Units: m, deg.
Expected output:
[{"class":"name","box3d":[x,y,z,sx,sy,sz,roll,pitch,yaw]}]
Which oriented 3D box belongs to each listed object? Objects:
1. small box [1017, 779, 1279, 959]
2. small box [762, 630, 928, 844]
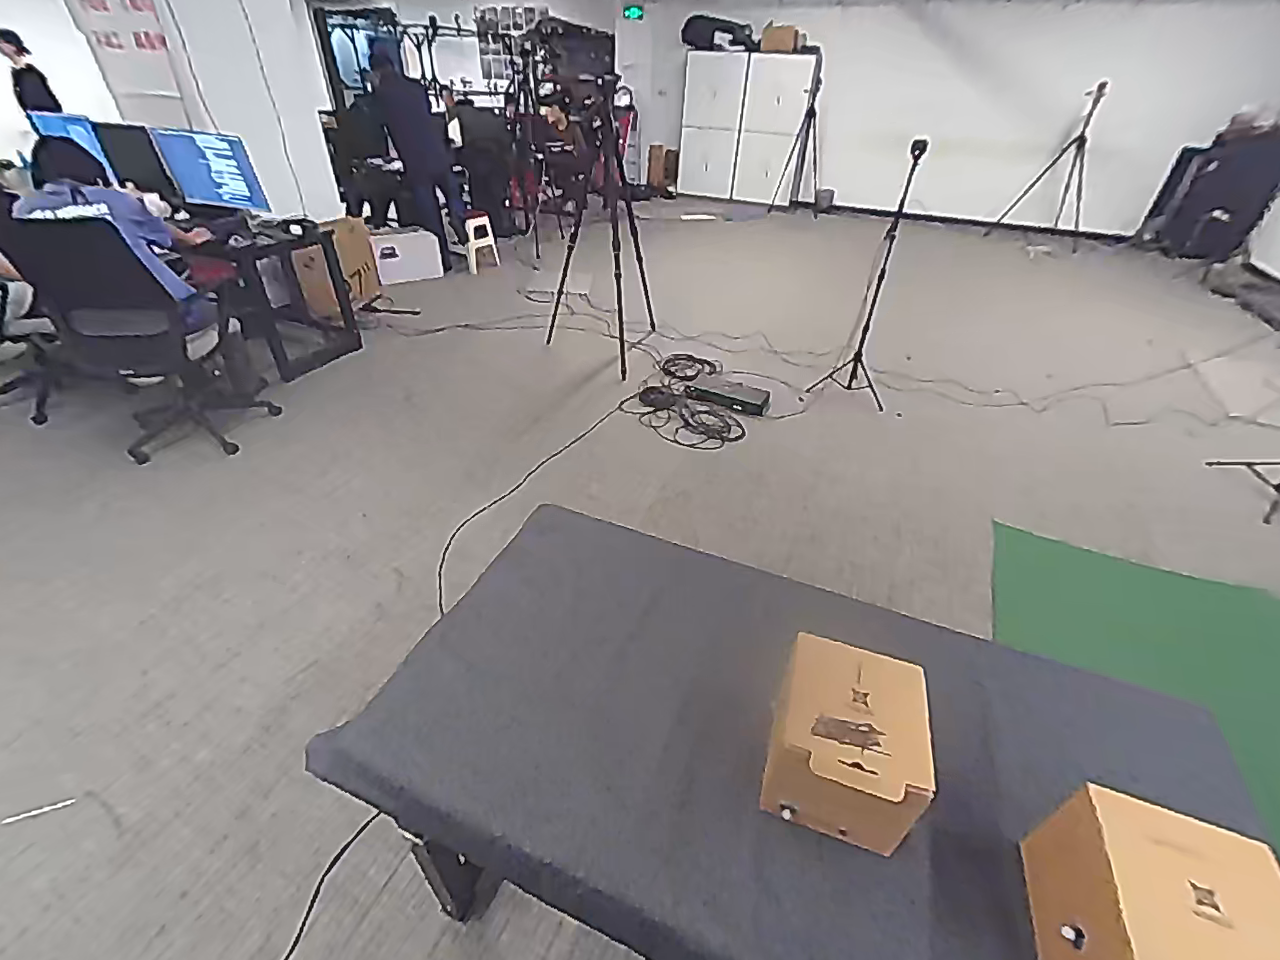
[{"class":"small box","box3d":[0.535,0.467,0.569,0.168,0.176,0.179,15,37,15]},{"class":"small box","box3d":[0.266,0.341,0.722,0.168,0.176,0.179,14,37,14]}]
